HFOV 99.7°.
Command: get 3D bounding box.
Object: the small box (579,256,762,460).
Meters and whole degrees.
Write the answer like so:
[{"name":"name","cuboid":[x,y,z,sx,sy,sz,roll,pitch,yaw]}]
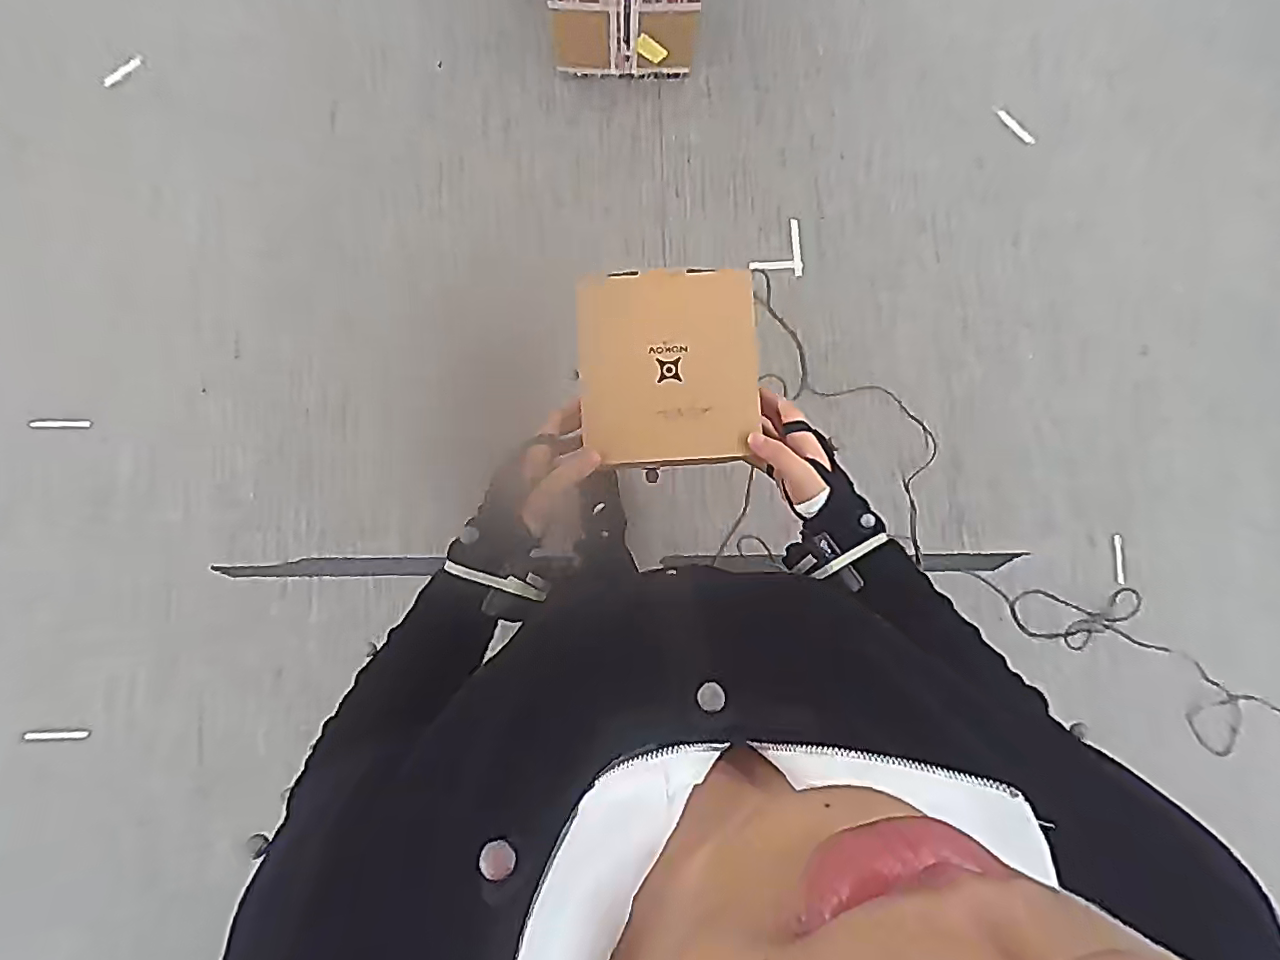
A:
[{"name":"small box","cuboid":[0.023,-0.116,0.574,0.168,0.176,0.179,-4,90,-3]}]
